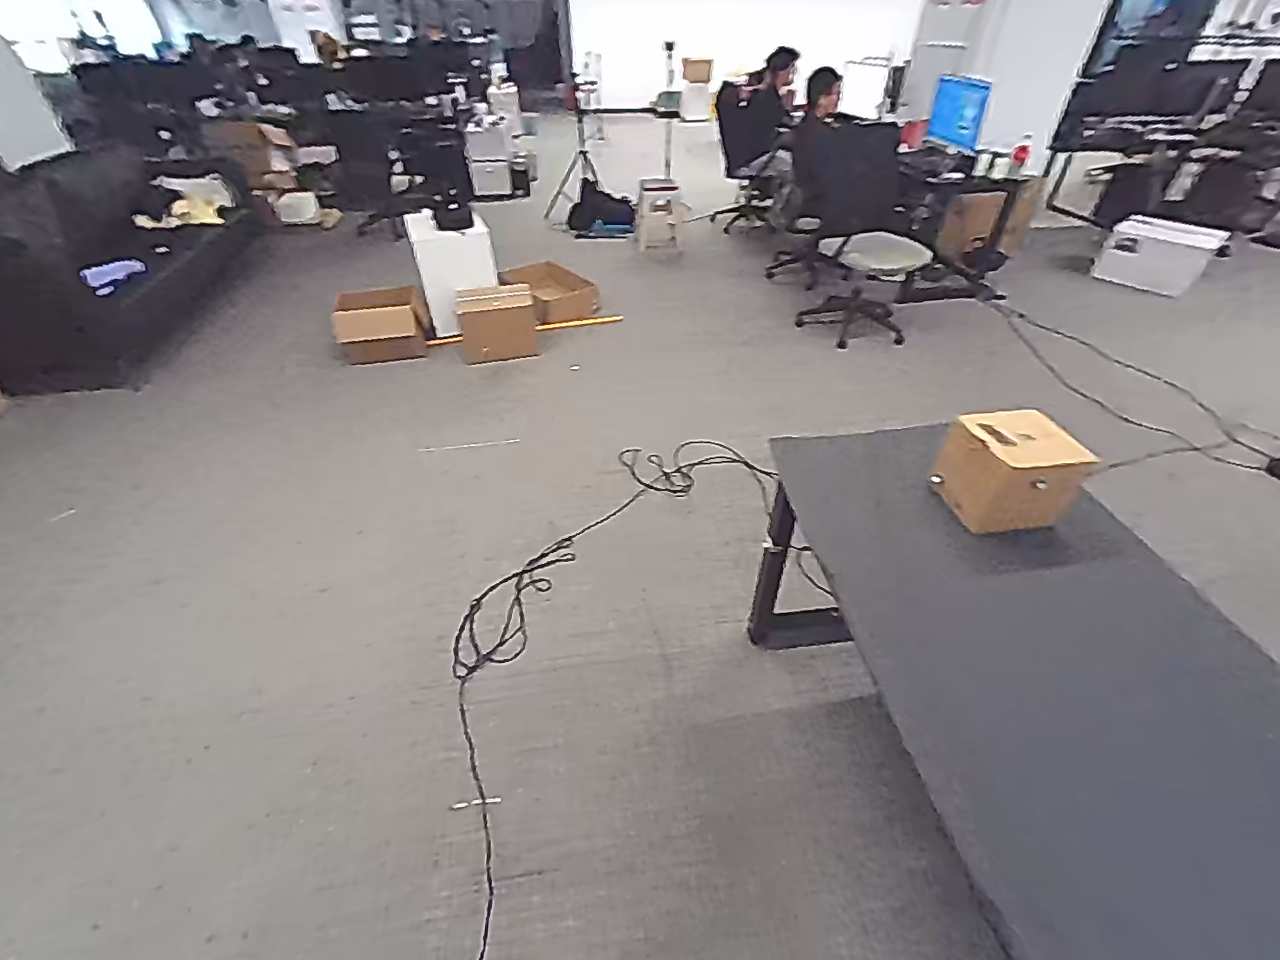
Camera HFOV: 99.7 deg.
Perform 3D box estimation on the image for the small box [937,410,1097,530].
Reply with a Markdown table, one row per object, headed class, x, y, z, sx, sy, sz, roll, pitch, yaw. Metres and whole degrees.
| class | x | y | z | sx | sy | sz | roll | pitch | yaw |
| --- | --- | --- | --- | --- | --- | --- | --- | --- | --- |
| small box | 0.716 | -0.018 | 1.058 | 0.179 | 0.176 | 0.168 | -5 | 42 | -6 |
